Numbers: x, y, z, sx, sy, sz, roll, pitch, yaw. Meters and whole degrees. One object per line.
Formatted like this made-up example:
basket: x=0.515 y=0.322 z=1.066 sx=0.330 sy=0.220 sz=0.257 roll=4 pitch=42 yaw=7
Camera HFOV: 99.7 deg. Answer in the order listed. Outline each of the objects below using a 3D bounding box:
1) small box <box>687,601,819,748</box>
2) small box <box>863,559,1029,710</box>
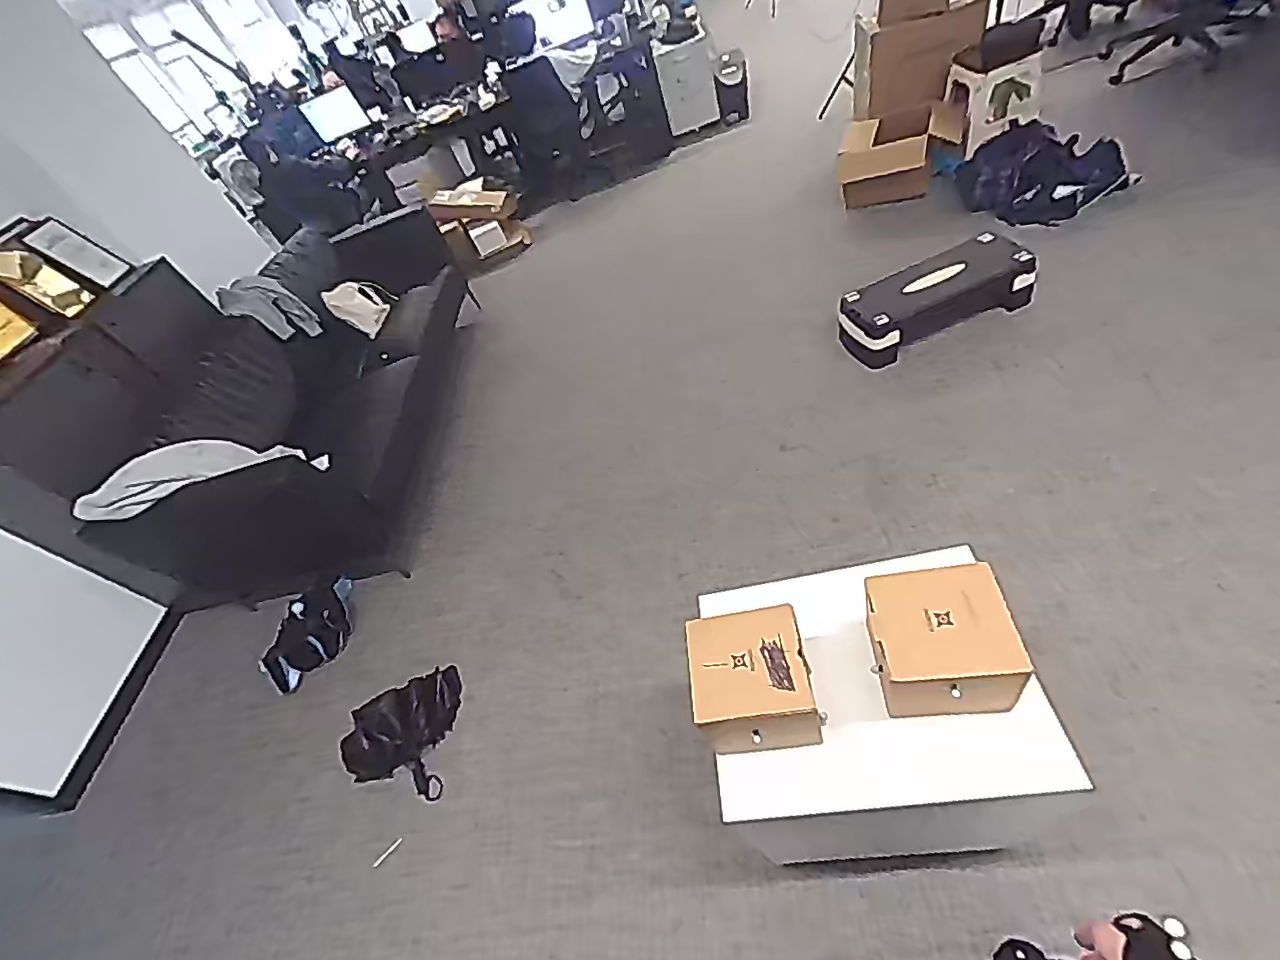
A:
small box: x=0.185 y=0.320 z=0.877 sx=0.179 sy=0.176 sz=0.168 roll=-14 pitch=47 yaw=13
small box: x=0.452 y=0.243 z=0.827 sx=0.179 sy=0.176 sz=0.168 roll=-10 pitch=50 yaw=15
